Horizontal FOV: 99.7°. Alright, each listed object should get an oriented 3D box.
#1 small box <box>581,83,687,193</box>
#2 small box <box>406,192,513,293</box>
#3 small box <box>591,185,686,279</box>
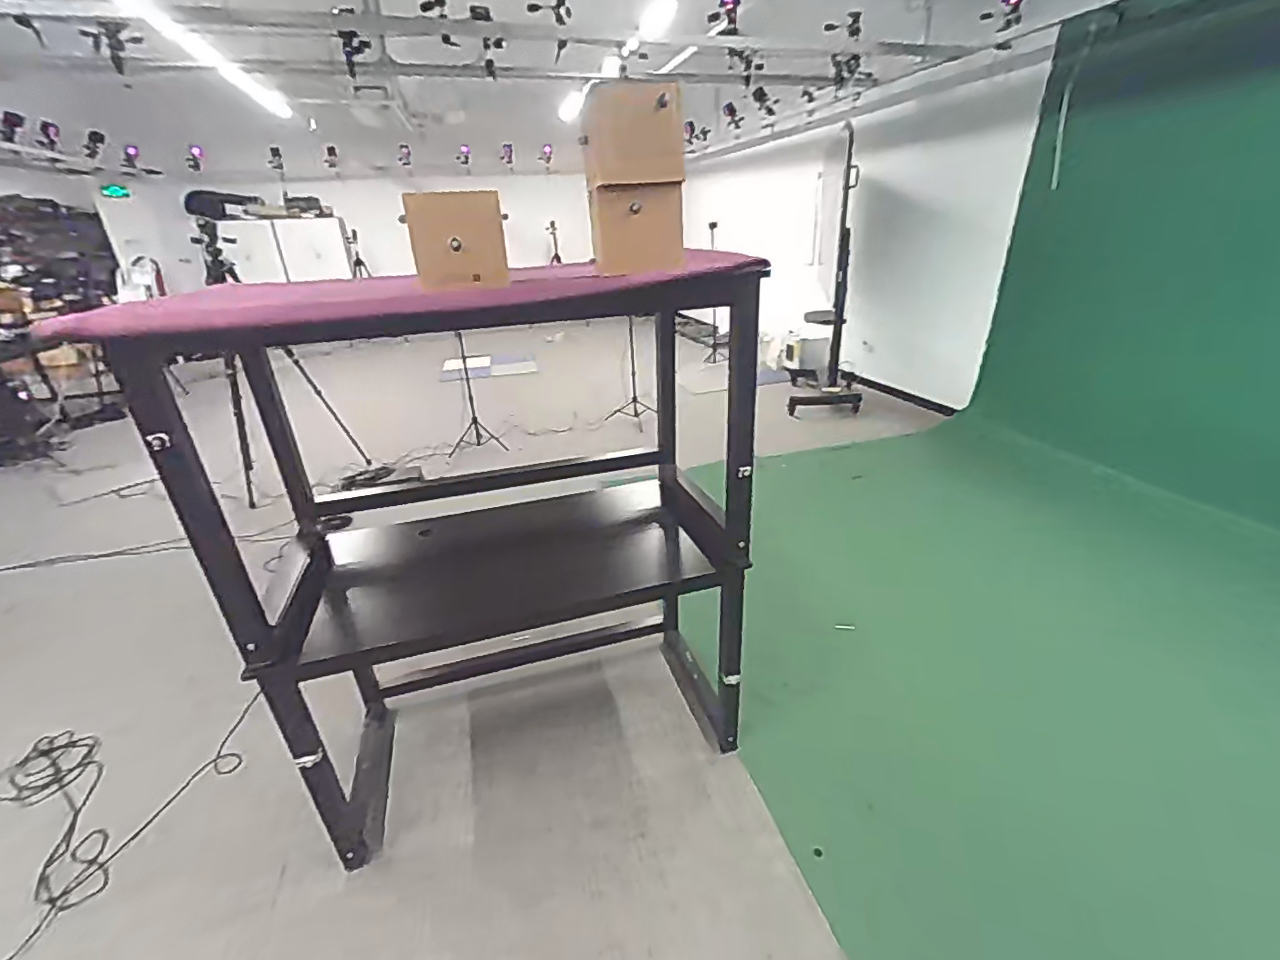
[{"bbox_3d":[-0.012,-0.671,1.086,0.179,0.176,0.168,-9,24,-12],"label":"small box"},{"bbox_3d":[-0.343,-0.459,1.053,0.168,0.176,0.179,-7,25,-12],"label":"small box"},{"bbox_3d":[-0.004,-0.529,1.165,0.179,0.176,0.168,-7,24,-9],"label":"small box"}]
